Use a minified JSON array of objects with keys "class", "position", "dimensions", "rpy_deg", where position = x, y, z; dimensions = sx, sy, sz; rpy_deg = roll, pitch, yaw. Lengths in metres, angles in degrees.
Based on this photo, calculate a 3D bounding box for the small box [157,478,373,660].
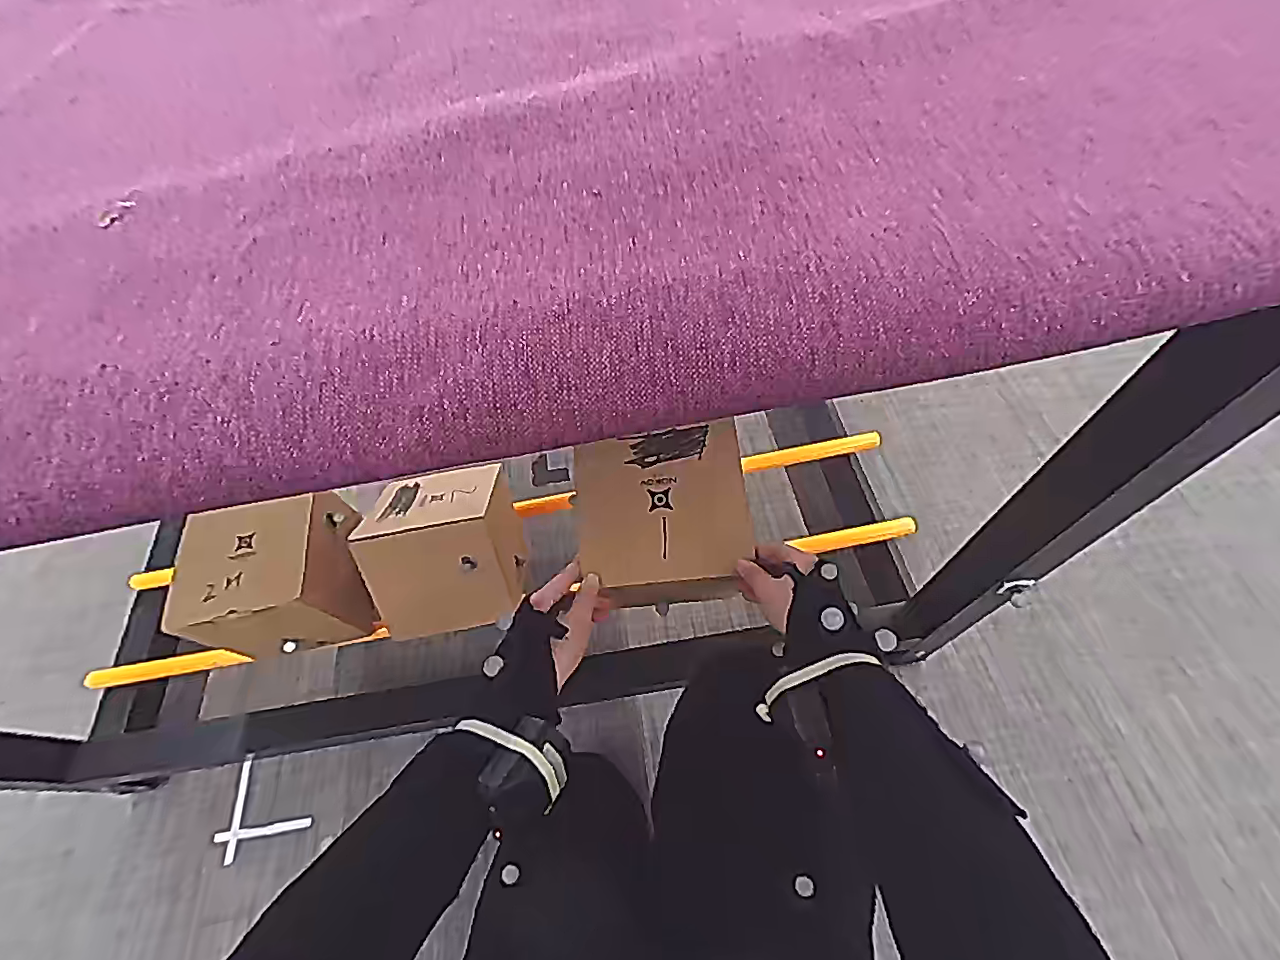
[{"class":"small box","position":[-0.482,0.125,0.730],"dimensions":[0.168,0.176,0.179],"rpy_deg":[-12,60,-2]}]

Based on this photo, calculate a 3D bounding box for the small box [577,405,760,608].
[{"class":"small box","position":[0.023,0.037,0.592],"dimensions":[0.168,0.176,0.179],"rpy_deg":[-5,70,0]}]
